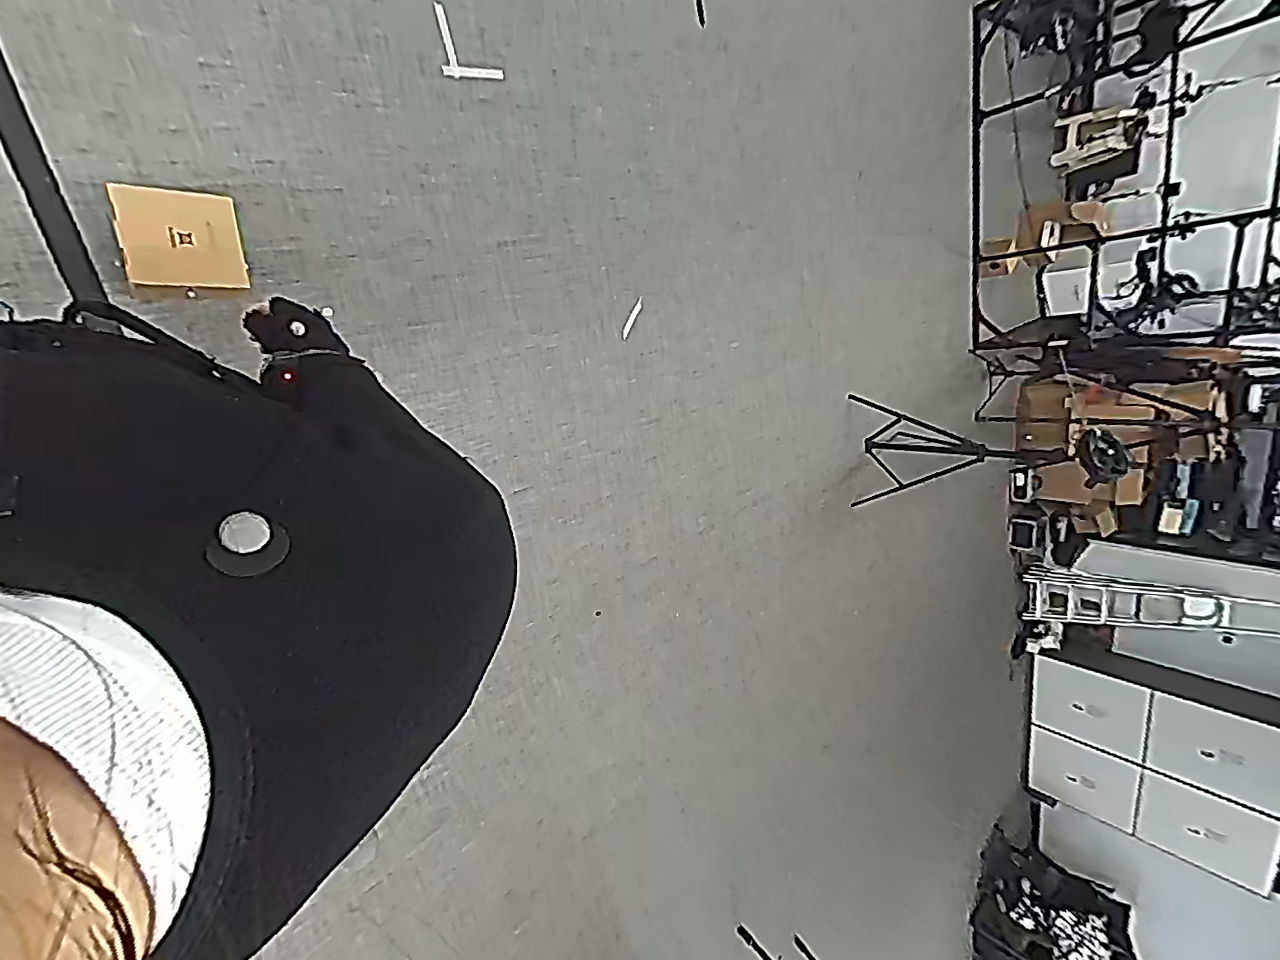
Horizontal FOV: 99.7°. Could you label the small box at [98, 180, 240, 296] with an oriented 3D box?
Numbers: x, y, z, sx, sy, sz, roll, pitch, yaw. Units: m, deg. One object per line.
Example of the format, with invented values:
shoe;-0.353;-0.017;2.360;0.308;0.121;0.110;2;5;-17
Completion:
small box;-0.899;-0.453;1.044;0.179;0.176;0.168;-13;105;-39
